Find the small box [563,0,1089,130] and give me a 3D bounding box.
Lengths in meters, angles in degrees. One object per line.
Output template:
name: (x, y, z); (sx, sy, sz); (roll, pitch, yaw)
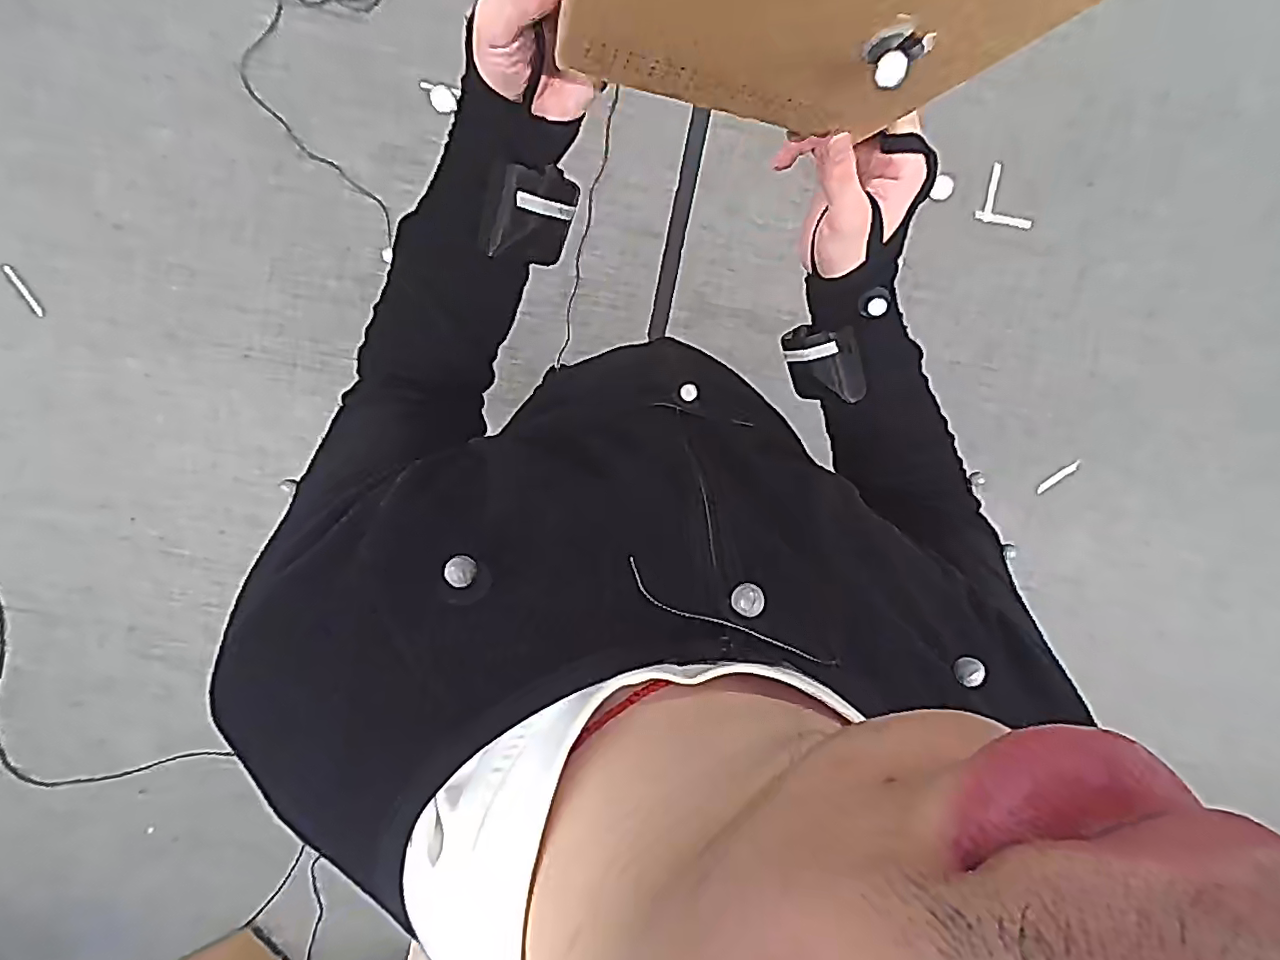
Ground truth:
small box: (0.072, -0.267, 0.209); (0.179, 0.176, 0.168); (3, 101, -15)
